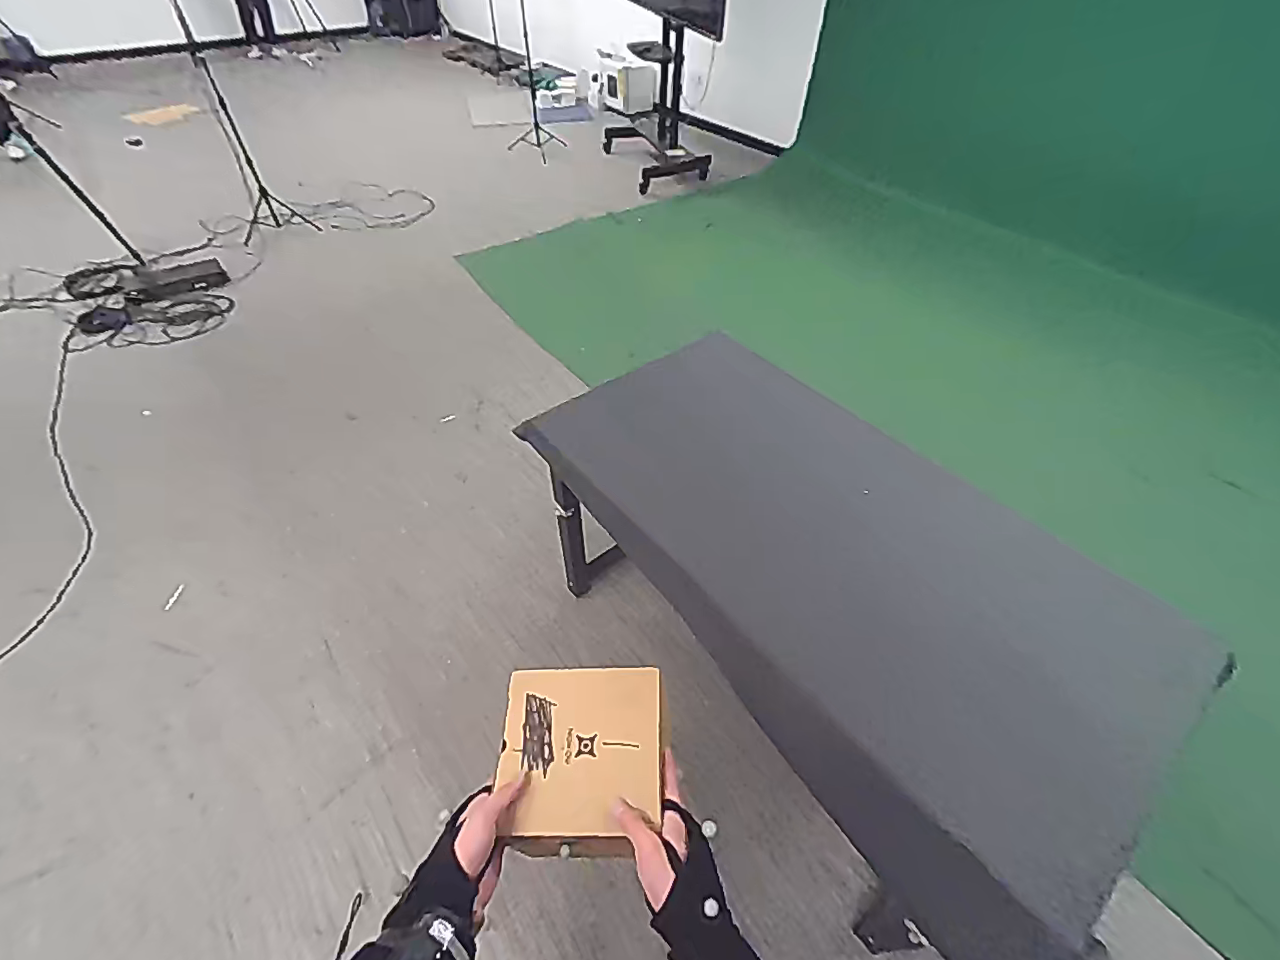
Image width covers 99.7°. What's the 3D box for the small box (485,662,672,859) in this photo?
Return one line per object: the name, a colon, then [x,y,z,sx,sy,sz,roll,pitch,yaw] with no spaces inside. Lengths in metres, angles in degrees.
small box: [-0.054,0.321,0.614,0.179,0.176,0.168,-2,49,2]
